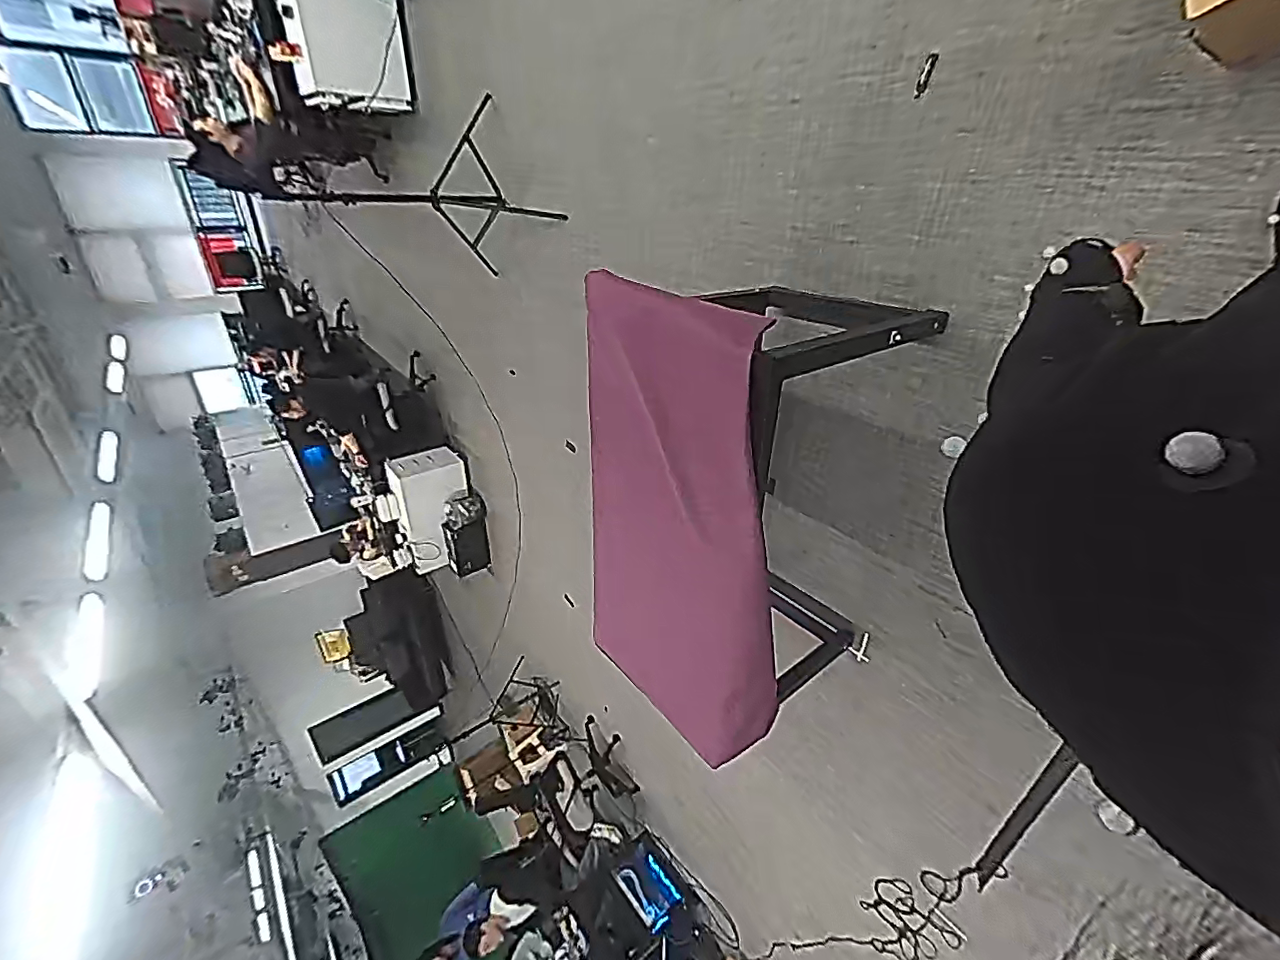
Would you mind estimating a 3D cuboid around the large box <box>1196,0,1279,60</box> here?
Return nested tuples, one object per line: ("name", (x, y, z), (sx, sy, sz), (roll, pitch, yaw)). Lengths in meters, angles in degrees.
("large box", (0.980, -0.817, 0.656), (0.408, 0.320, 0.320), (-3, 104, 56))
